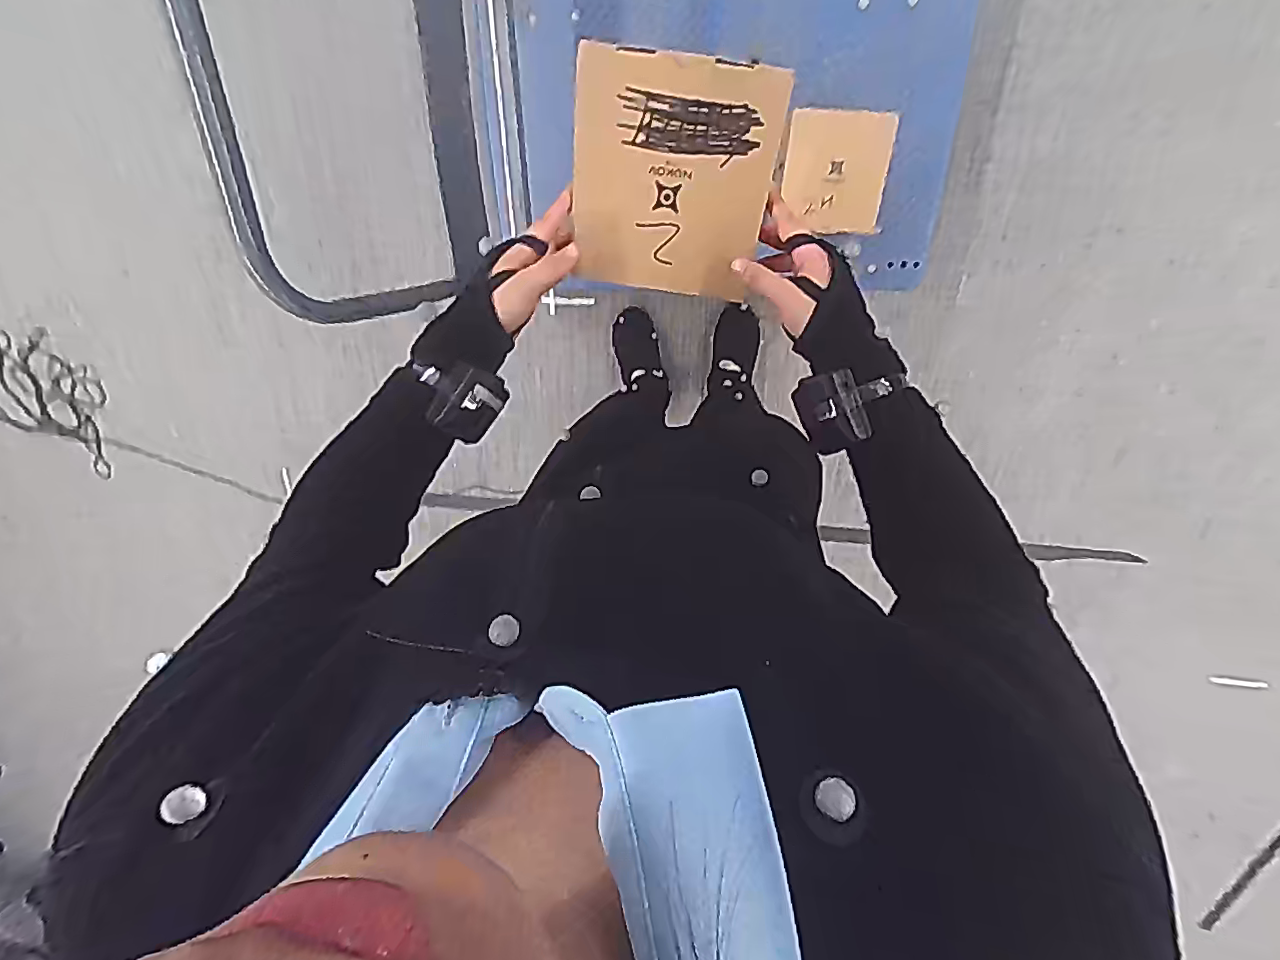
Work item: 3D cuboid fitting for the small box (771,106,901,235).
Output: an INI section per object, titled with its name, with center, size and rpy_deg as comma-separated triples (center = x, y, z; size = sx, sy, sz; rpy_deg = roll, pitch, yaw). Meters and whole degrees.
[small box]
center = 0.331, -0.535, 0.955
size = 0.168, 0.176, 0.179
rpy_deg = 6, 115, 5
